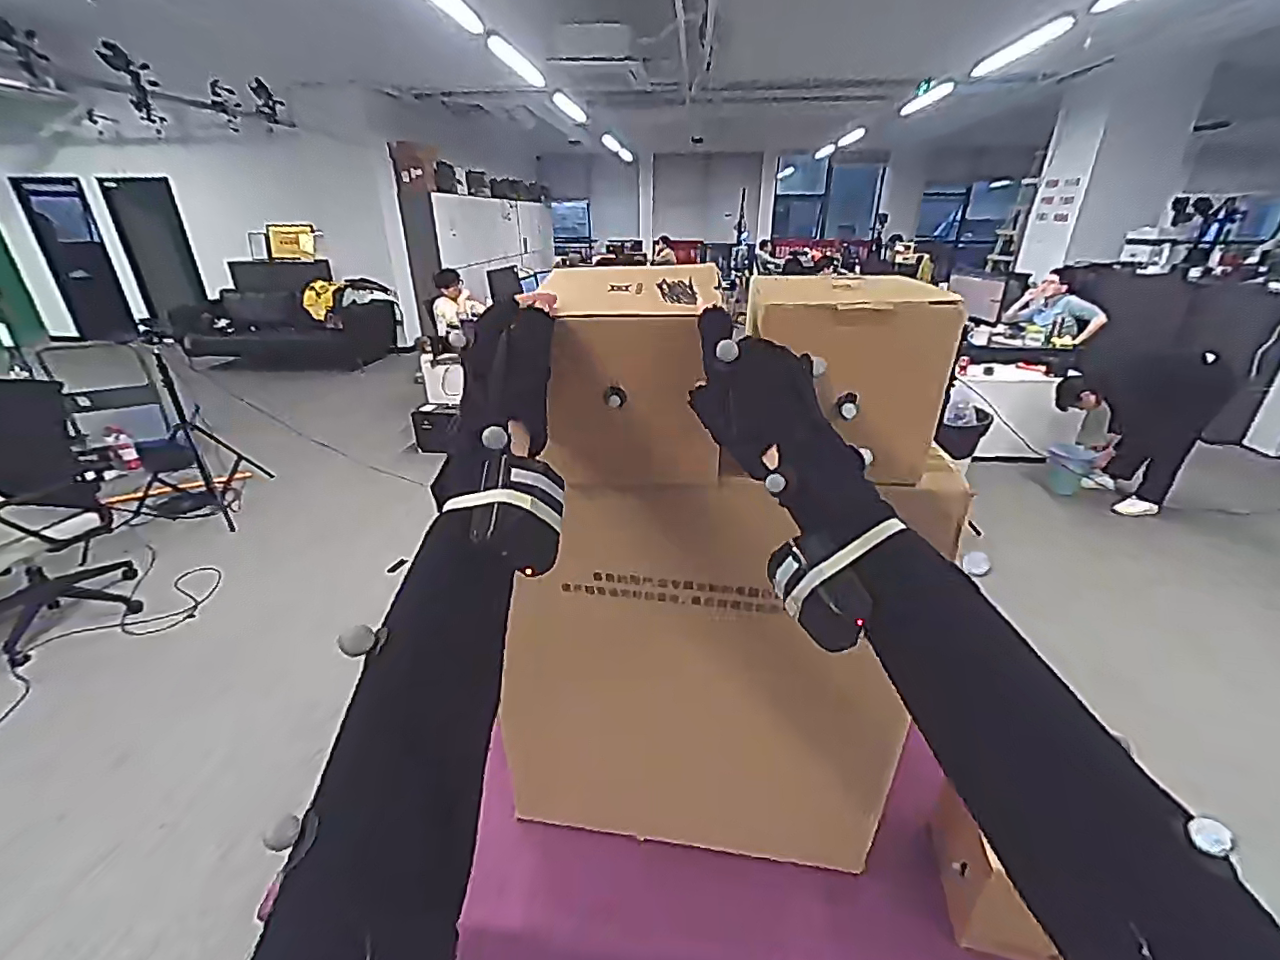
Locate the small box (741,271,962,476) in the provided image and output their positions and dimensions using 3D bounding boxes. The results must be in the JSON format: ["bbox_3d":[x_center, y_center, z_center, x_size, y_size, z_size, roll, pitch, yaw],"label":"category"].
[{"bbox_3d":[0.196,-0.115,0.560,0.168,0.176,0.179,3,28,6],"label":"small box"}]

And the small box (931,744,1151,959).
[{"bbox_3d":[0.512,0.498,0.724,0.168,0.176,0.179,6,25,12],"label":"small box"}]
